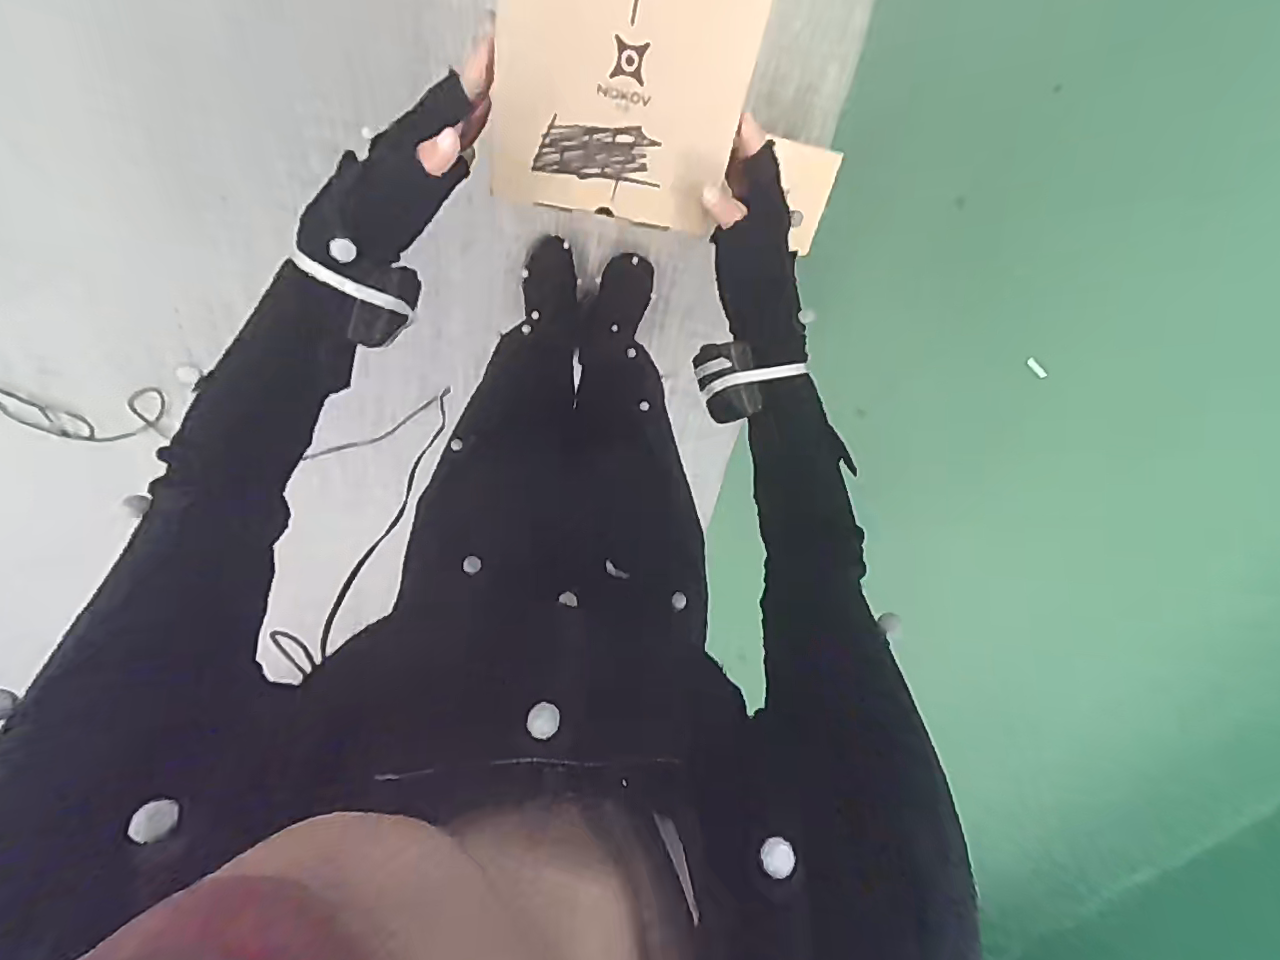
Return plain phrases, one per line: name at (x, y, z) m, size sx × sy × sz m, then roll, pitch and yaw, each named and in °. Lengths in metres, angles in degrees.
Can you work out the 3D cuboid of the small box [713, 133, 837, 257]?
small box at (0.250, -0.559, 1.057) m, size 0.168 × 0.176 × 0.179 m, roll 9°, pitch 123°, yaw -8°
